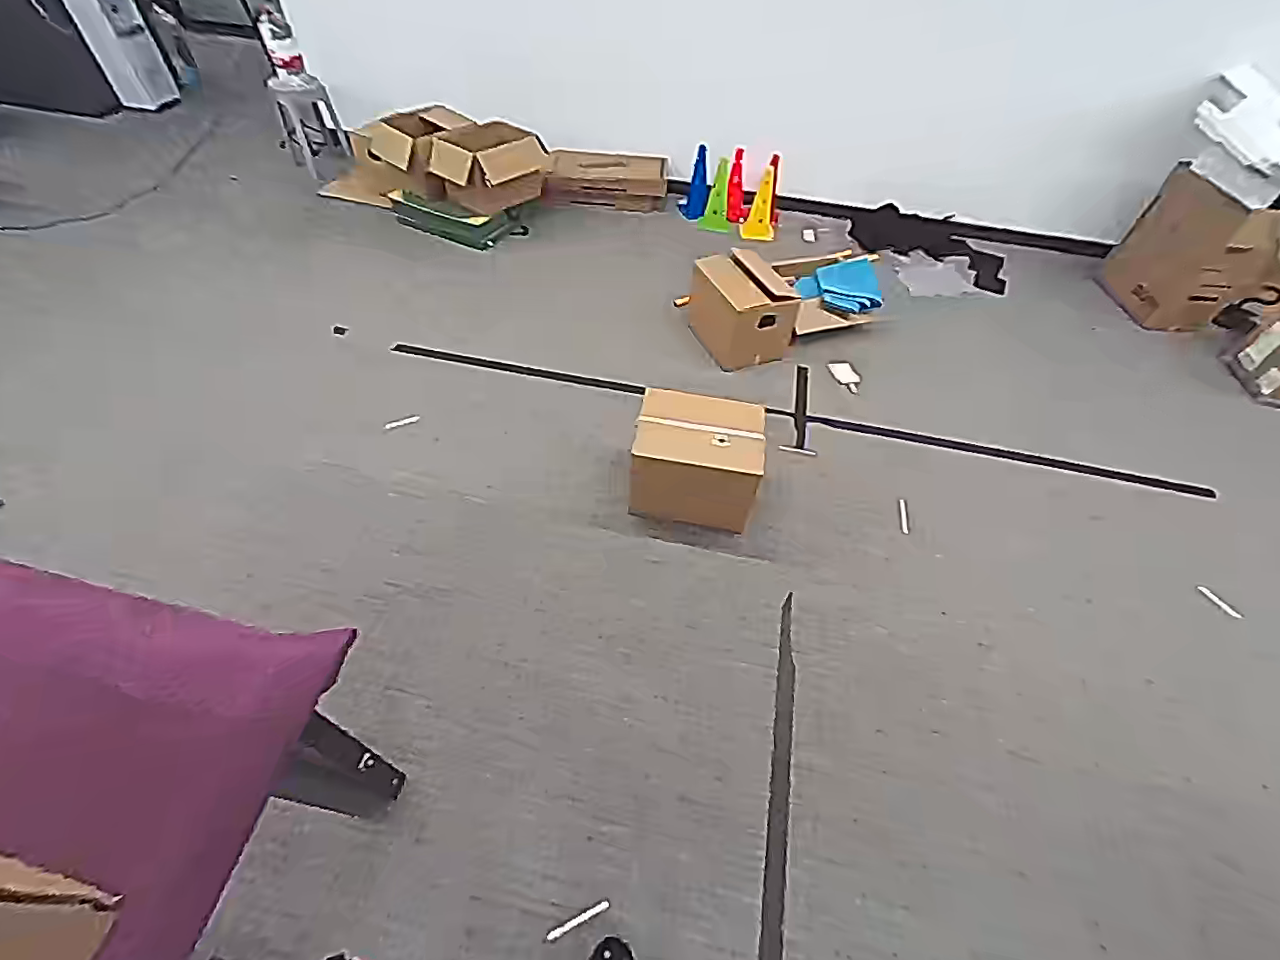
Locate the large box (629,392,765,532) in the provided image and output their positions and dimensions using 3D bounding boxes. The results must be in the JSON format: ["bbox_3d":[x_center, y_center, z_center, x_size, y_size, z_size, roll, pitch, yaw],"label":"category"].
[{"bbox_3d":[0.185,-0.057,1.822,0.408,0.320,0.320,9,51,3],"label":"large box"}]
